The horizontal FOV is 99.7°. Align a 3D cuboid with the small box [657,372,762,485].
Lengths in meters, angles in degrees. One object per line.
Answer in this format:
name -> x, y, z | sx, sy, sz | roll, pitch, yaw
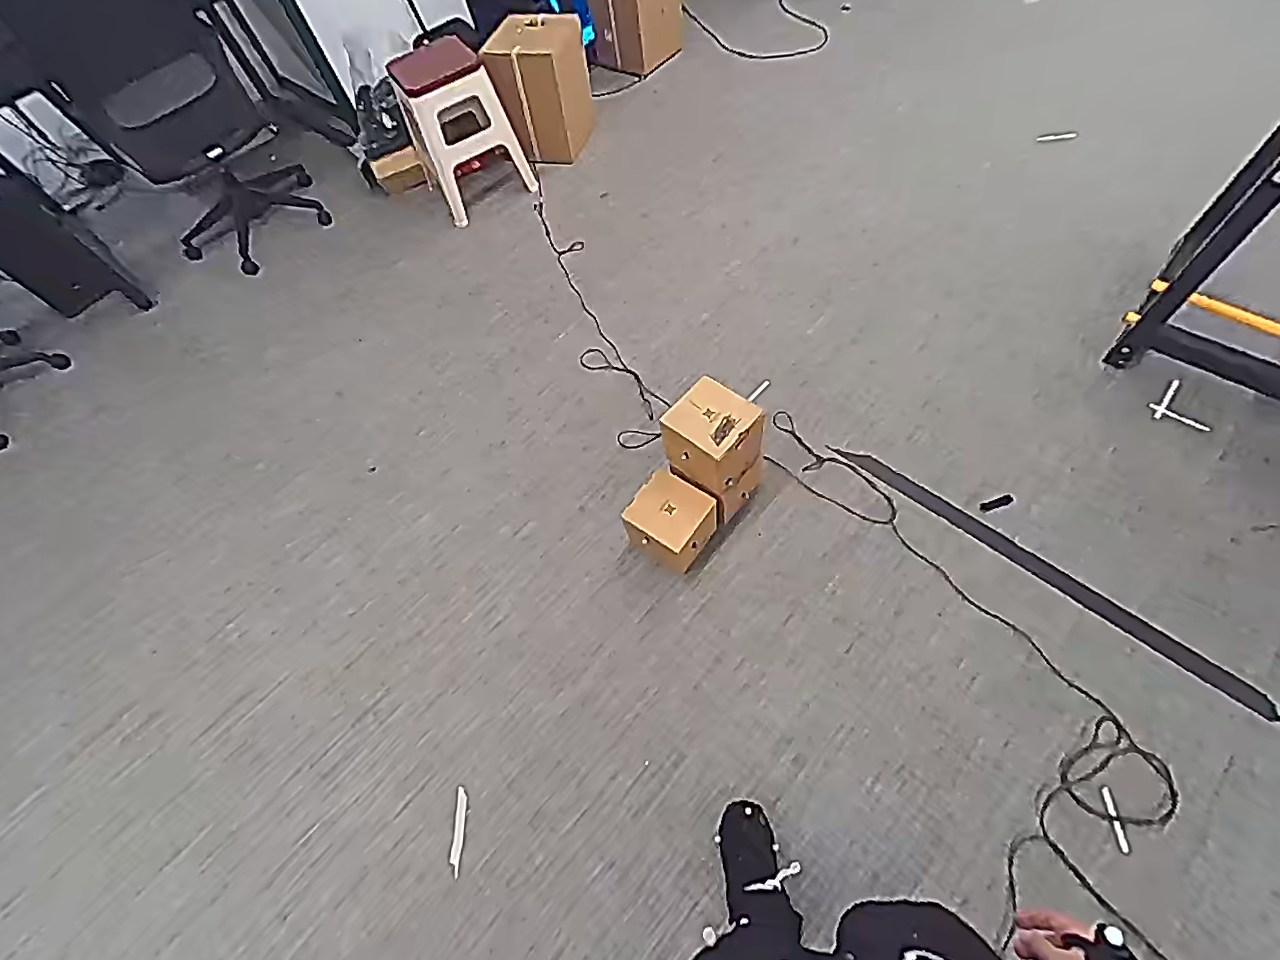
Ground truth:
small box -> 0.166, -0.112, 1.270 | 0.179, 0.176, 0.168 | 37, 72, 25
